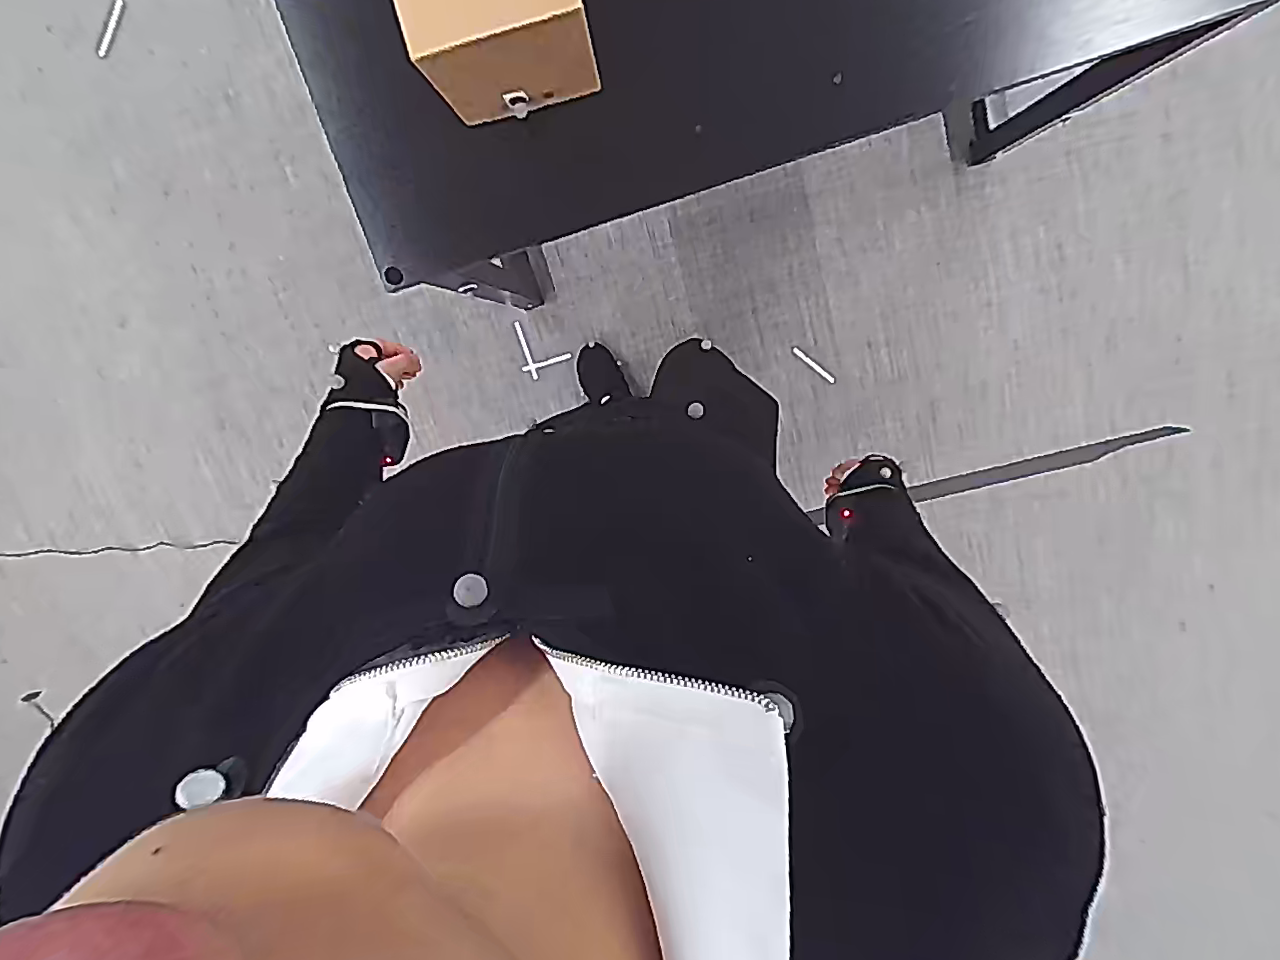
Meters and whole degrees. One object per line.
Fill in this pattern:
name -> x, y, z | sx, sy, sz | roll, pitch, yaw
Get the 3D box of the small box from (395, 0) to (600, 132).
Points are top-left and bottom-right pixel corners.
small box -> -0.145, -0.495, 0.546 | 0.168, 0.176, 0.179 | -13, 104, 5
